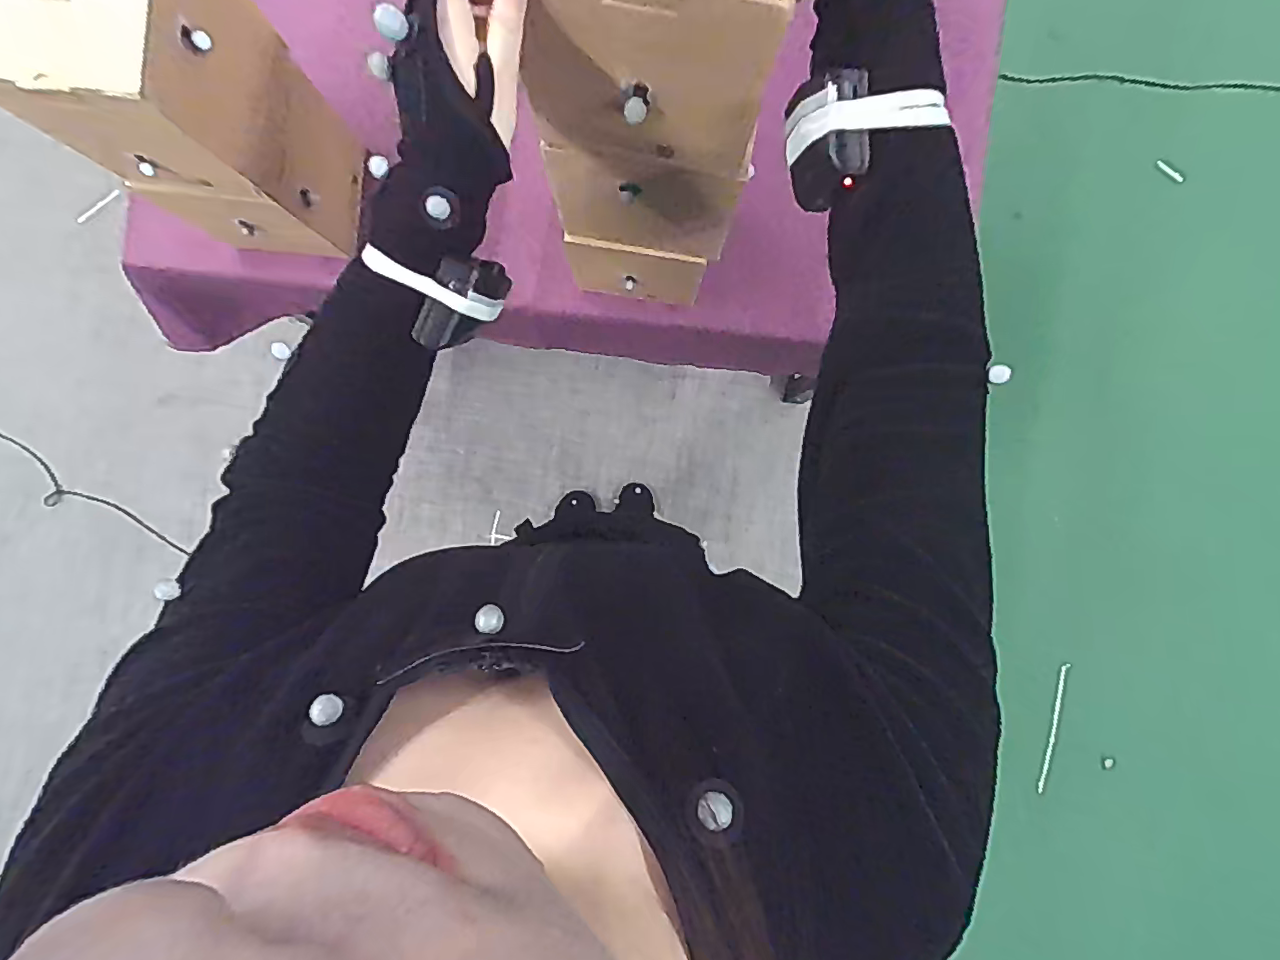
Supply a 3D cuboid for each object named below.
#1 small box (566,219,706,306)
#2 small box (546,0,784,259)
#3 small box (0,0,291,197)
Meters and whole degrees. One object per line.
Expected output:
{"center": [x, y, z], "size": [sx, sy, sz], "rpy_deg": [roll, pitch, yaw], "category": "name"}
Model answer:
{"center": [0.009, -0.340, 0.694], "size": [0.168, 0.176, 0.179], "rpy_deg": [10, 91, -1], "category": "small box"}
{"center": [0.020, -0.338, 0.529], "size": [0.179, 0.176, 0.168], "rpy_deg": [10, 91, -2], "category": "small box"}
{"center": [-0.473, -0.409, 0.522], "size": [0.168, 0.176, 0.179], "rpy_deg": [7, 92, -1], "category": "small box"}
